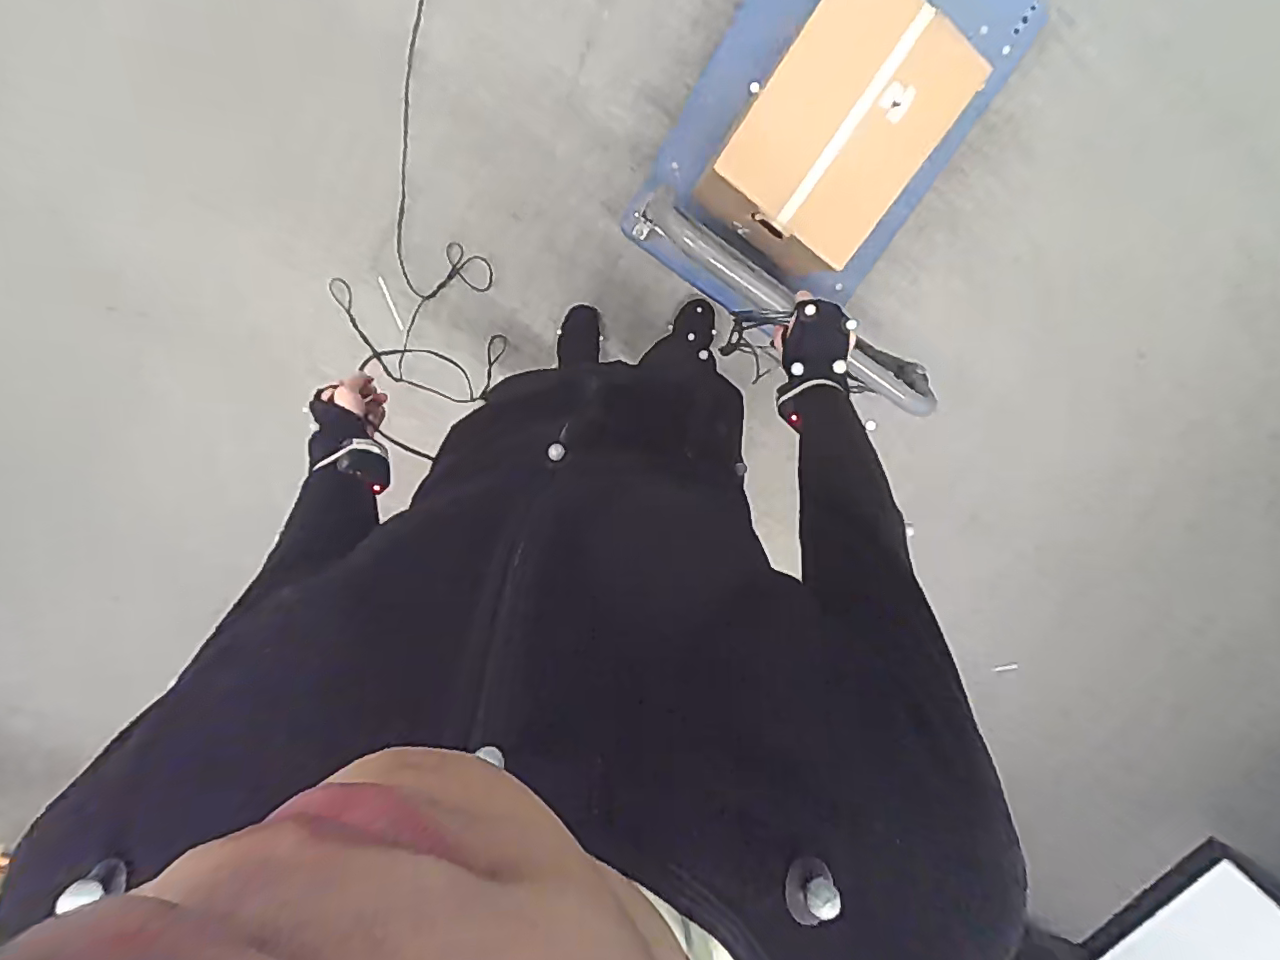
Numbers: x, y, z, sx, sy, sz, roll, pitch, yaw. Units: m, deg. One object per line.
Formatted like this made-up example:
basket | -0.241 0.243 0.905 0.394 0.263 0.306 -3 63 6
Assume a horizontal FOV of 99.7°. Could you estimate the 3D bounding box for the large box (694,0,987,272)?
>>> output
large box | 0.358 -0.684 1.084 0.320 0.320 0.408 32 105 -14
